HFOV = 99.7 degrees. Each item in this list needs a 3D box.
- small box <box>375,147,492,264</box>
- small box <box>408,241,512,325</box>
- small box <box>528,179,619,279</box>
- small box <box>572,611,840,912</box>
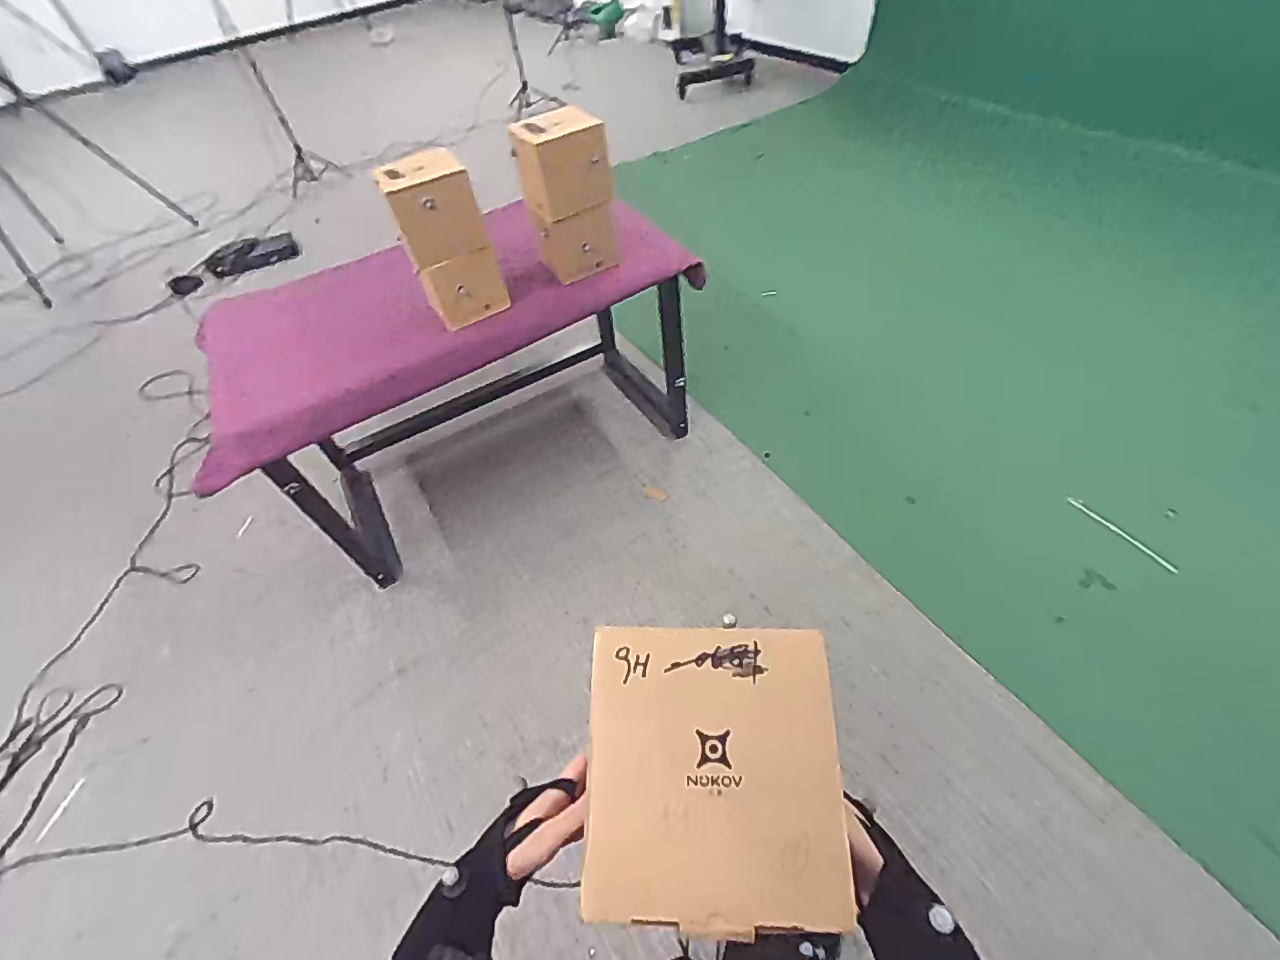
[{"bbox_3d":[-0.456,-0.609,1.208,0.179,0.176,0.168,-26,52,-14],"label":"small box"},{"bbox_3d":[-0.439,-0.507,1.335,0.168,0.176,0.179,-29,52,-15],"label":"small box"},{"bbox_3d":[-0.167,-0.648,1.412,0.168,0.176,0.179,-26,52,-14],"label":"small box"},{"bbox_3d":[0.045,0.208,0.432,0.168,0.176,0.179,1,66,2],"label":"small box"}]
